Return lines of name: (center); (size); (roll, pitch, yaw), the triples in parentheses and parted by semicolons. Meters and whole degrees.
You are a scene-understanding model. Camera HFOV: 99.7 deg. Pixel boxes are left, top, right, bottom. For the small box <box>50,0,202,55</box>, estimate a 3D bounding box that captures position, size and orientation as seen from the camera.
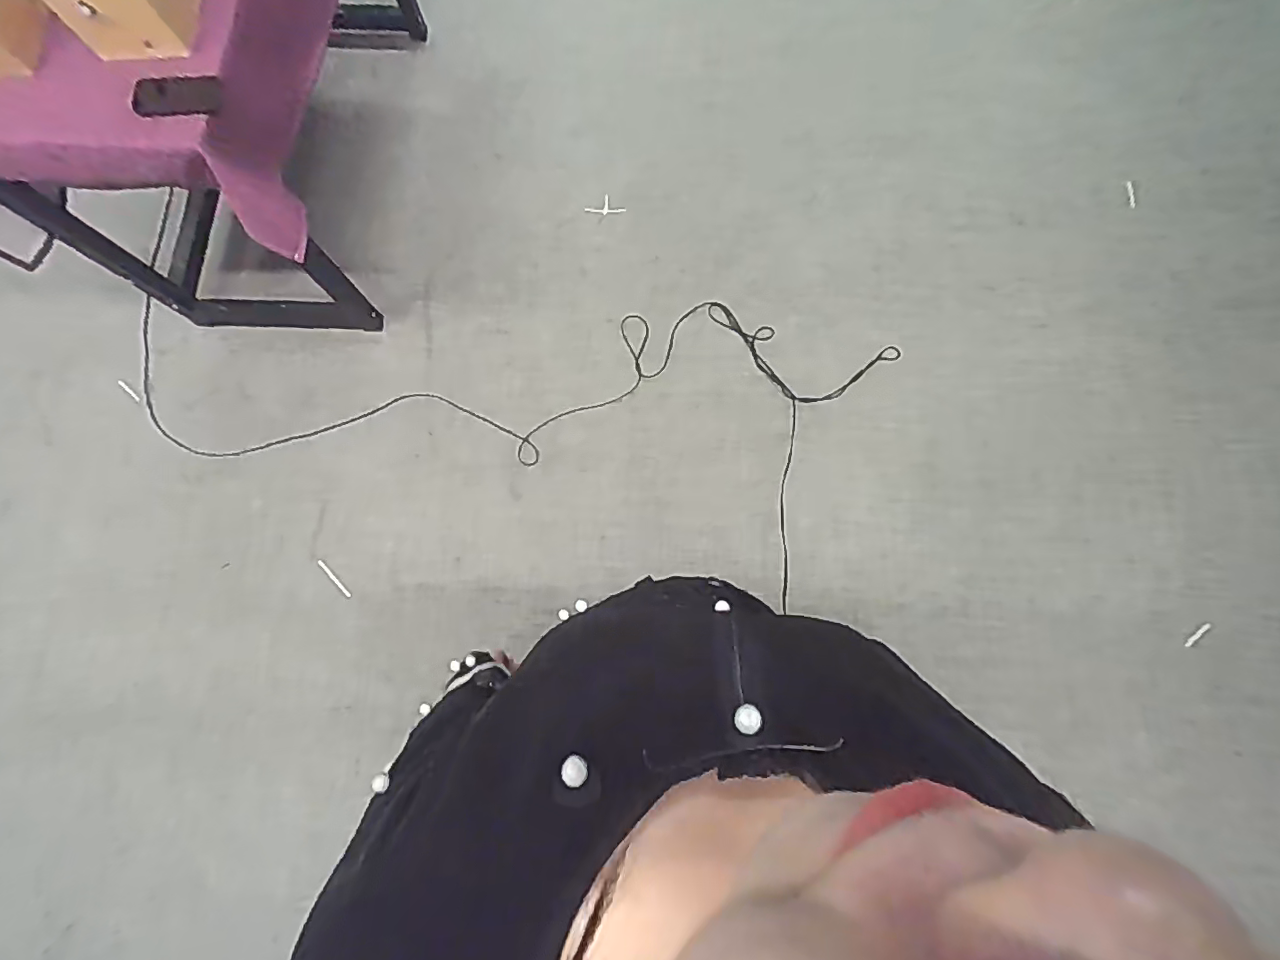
small box: (-0.909, -0.878, 0.937); (0.168, 0.176, 0.179); (-4, 77, -1)
